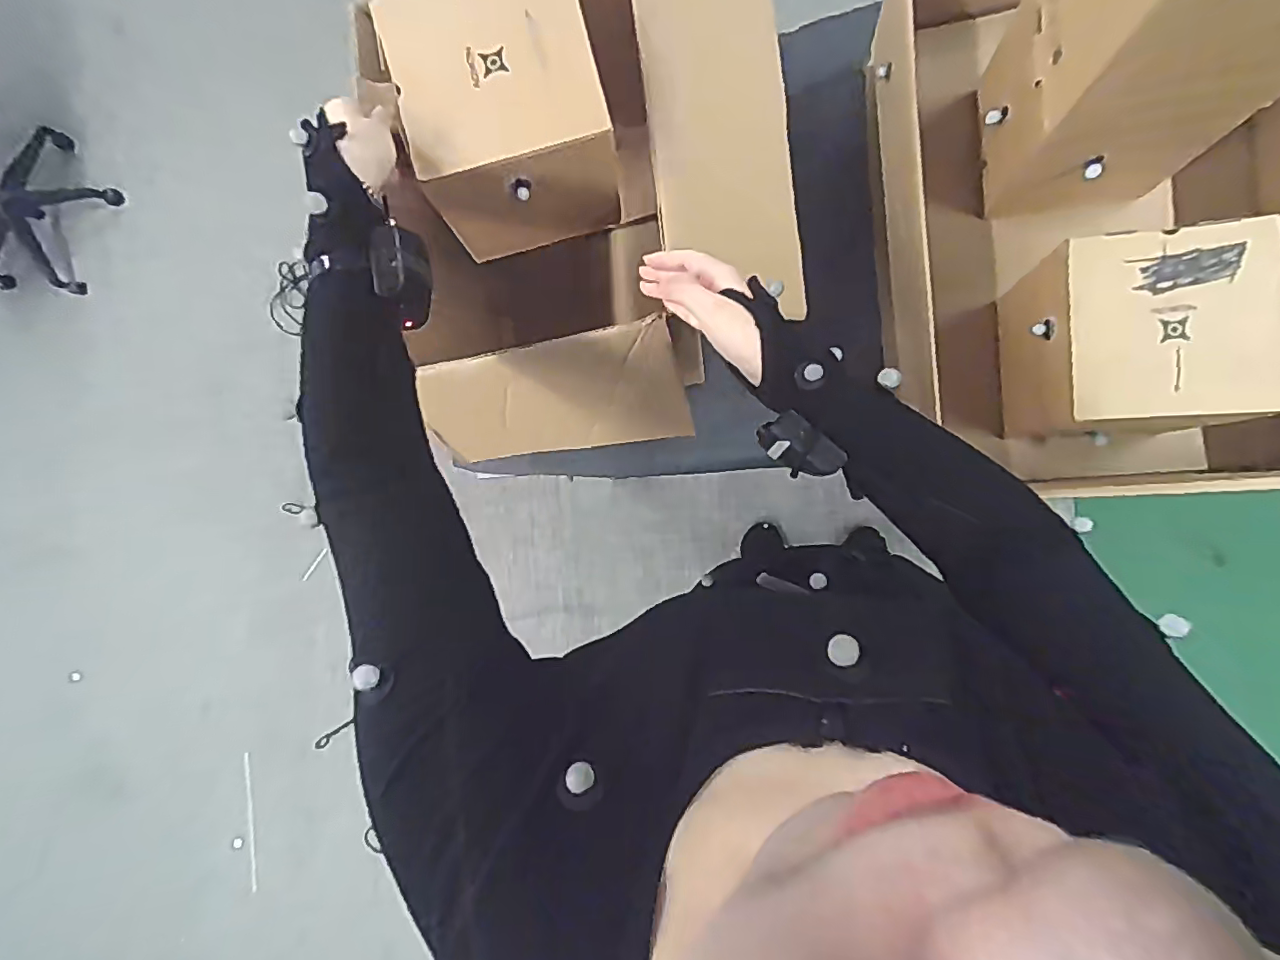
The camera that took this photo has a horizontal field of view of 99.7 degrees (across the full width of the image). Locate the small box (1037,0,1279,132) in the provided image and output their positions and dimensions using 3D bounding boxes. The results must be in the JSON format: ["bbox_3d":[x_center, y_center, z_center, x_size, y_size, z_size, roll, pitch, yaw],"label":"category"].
[{"bbox_3d":[0.443,-0.408,0.422,0.179,0.176,0.168,-1,90,12],"label":"small box"}]
